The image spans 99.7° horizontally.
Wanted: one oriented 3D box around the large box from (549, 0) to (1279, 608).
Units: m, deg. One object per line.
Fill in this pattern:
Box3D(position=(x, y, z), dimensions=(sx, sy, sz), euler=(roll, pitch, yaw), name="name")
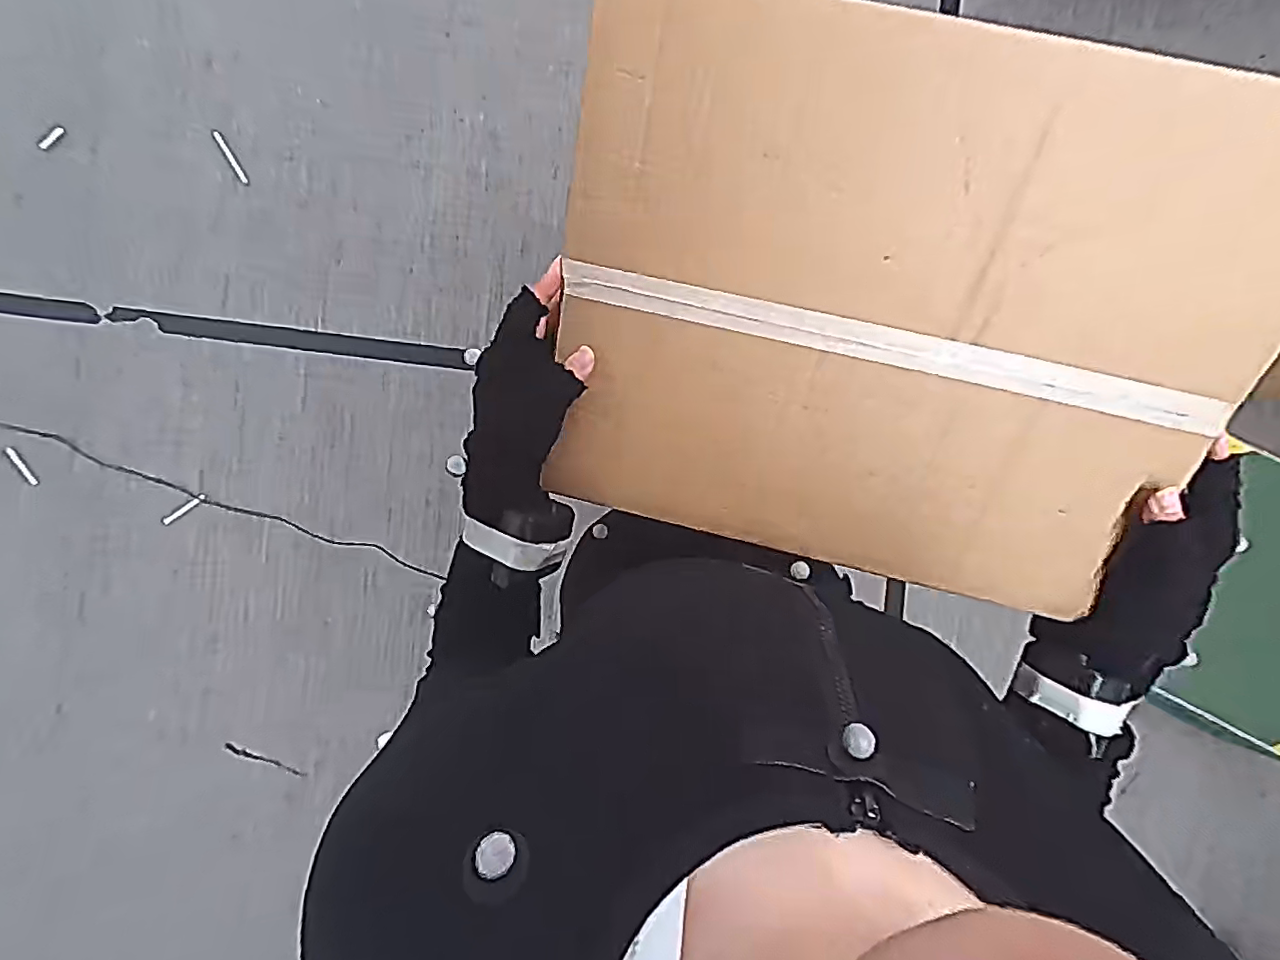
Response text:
Box3D(position=(0.168, -0.145, 0.476), dimensions=(0.408, 0.320, 0.320), euler=(14, 117, 3), name="large box")
